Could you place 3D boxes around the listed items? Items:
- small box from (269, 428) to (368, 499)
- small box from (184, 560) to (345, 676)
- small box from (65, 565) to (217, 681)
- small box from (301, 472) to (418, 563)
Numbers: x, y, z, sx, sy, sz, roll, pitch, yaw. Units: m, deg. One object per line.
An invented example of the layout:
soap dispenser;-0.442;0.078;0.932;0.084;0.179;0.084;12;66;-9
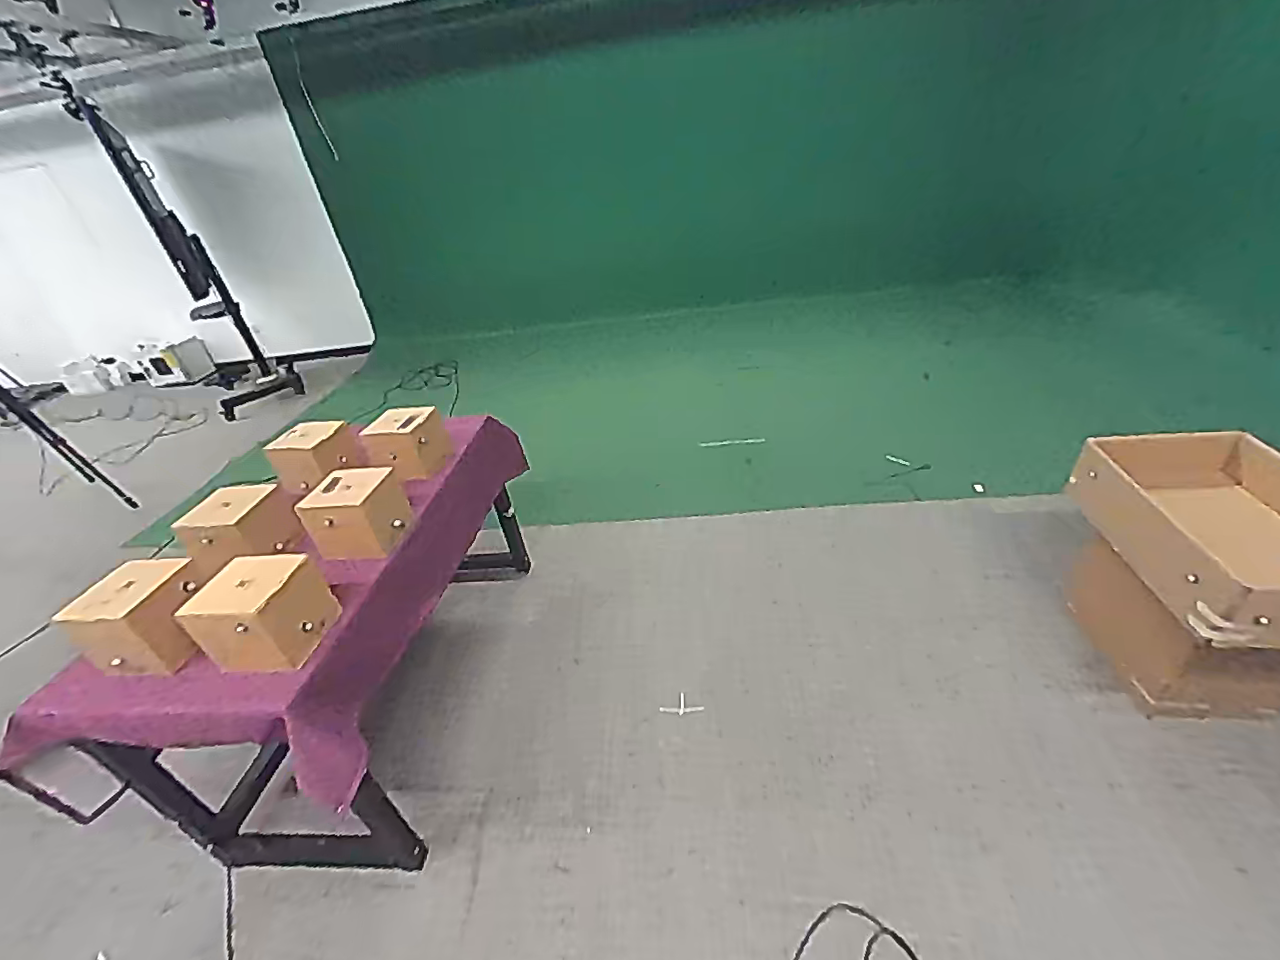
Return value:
small box;-0.995;-0.050;1.692;0.179;0.176;0.168;0;33;14
small box;-0.757;0.284;1.111;0.179;0.176;0.168;-4;32;9
small box;-1.025;0.303;1.153;0.168;0.176;0.179;-4;32;10
small box;-0.707;0.098;1.382;0.179;0.176;0.168;-4;33;10
